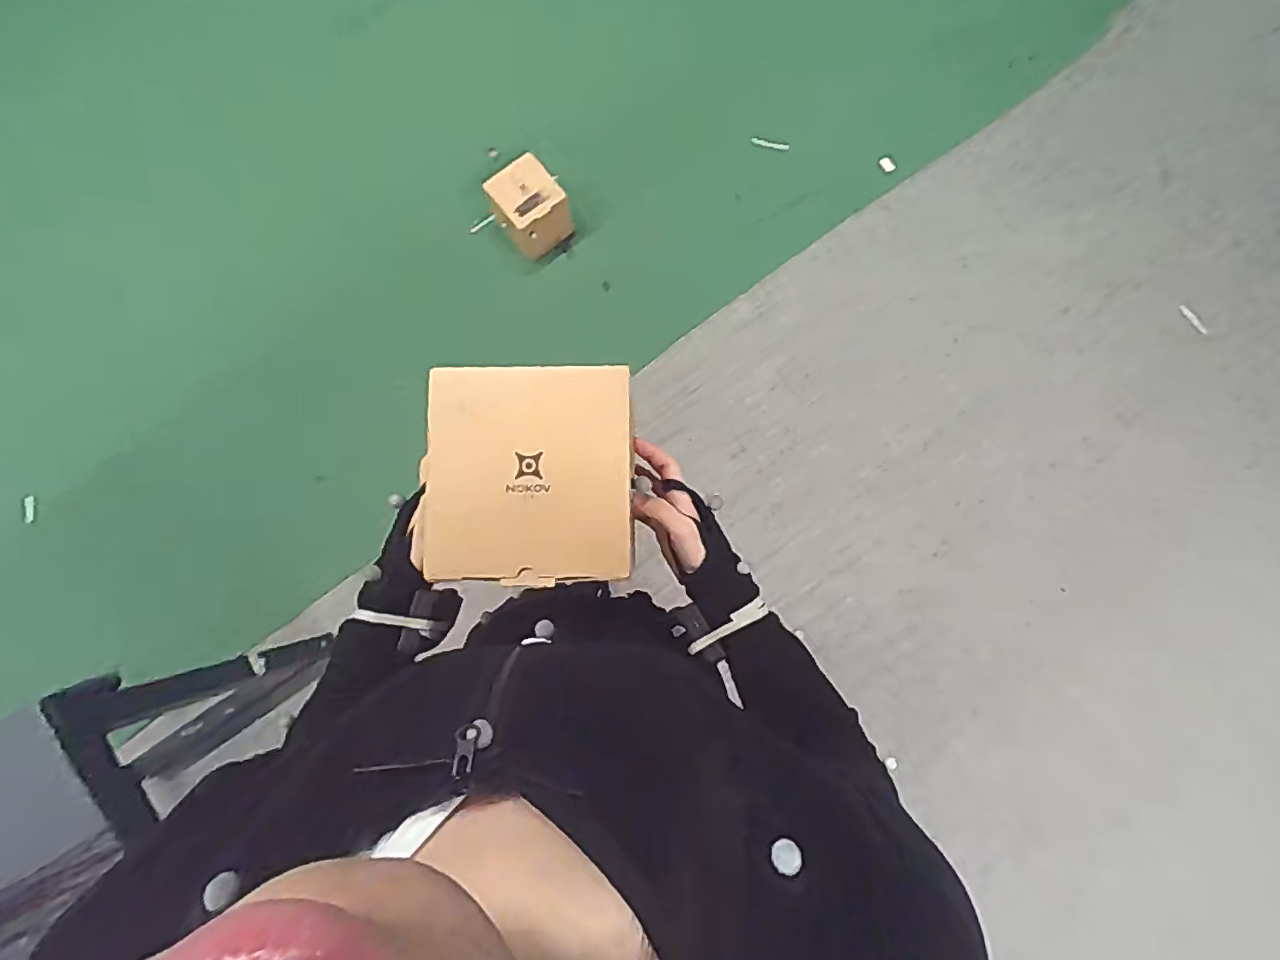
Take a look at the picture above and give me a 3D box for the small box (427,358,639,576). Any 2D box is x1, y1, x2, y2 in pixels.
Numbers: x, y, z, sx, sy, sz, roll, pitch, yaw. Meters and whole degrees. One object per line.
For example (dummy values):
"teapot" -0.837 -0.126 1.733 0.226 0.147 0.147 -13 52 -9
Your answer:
"small box" -0.086 -0.004 0.512 0.168 0.176 0.179 0 85 -1
